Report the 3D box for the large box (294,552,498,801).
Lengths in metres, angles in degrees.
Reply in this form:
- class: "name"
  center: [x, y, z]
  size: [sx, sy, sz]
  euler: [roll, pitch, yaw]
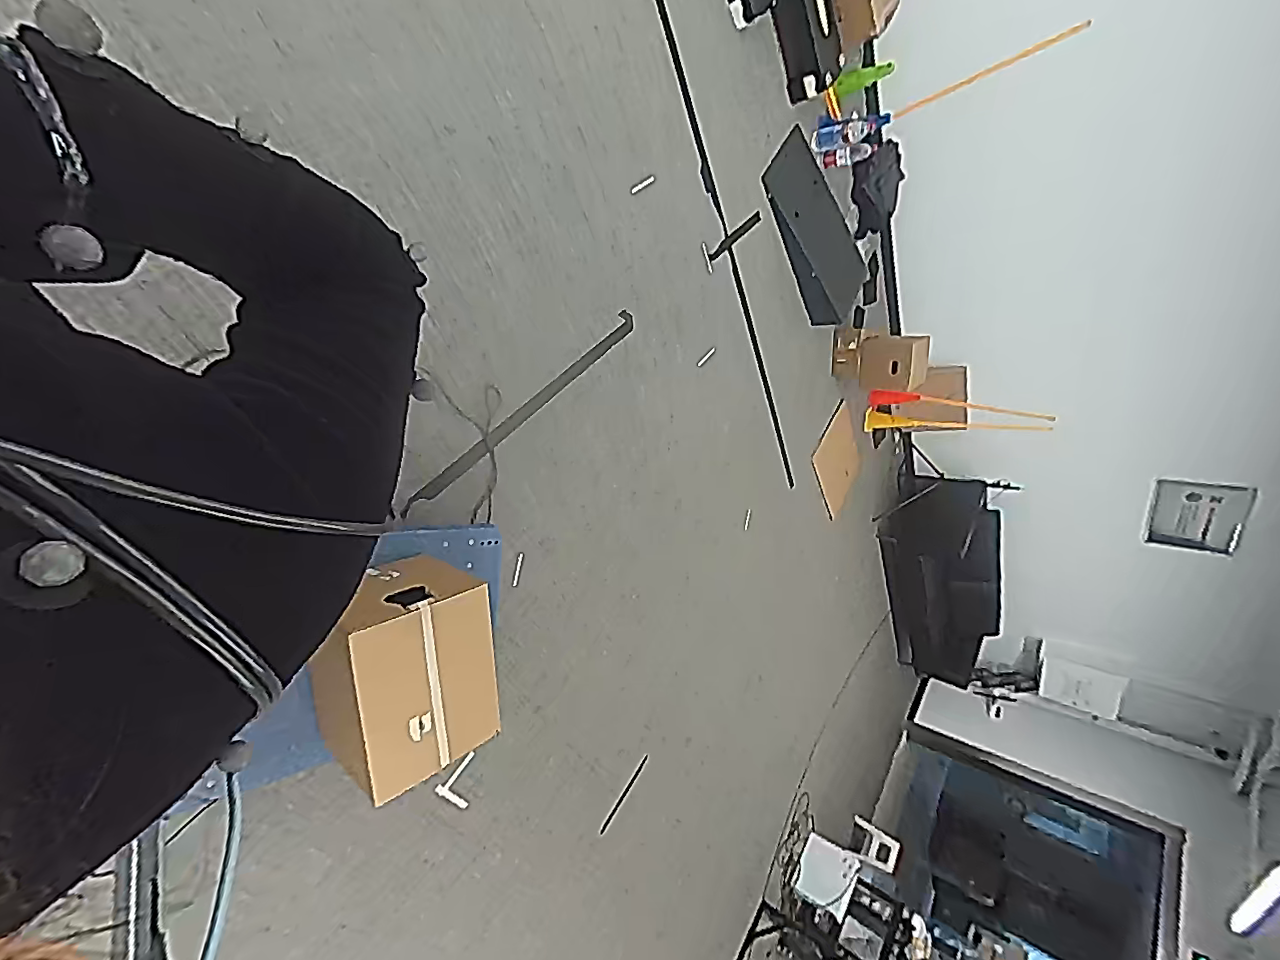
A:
- class: "large box"
  center: [-0.570, 0.430, 1.282]
  size: [0.320, 0.320, 0.408]
  euler: [-15, 110, -46]
